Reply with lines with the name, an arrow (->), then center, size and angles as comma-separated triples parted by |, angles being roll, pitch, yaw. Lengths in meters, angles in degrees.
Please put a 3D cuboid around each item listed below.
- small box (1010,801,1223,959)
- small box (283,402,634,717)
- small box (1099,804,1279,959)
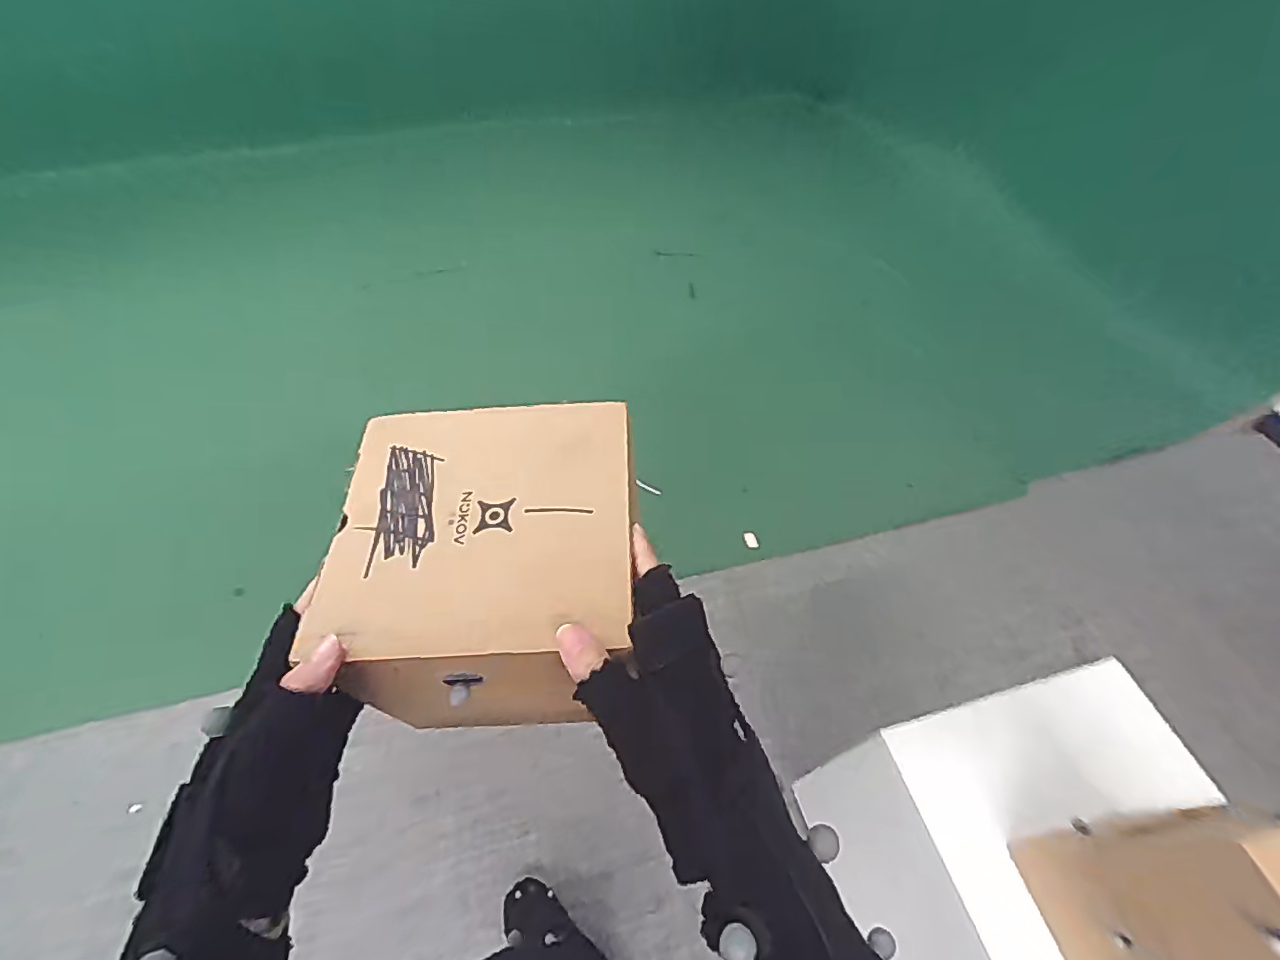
small box -> 0.552, 0.469, 0.578 | 0.168, 0.176, 0.179 | -11, 55, -7
small box -> -0.098, 0.065, 0.389 | 0.179, 0.176, 0.168 | -3, 55, 1
small box -> 0.553, 0.377, 0.445 | 0.179, 0.176, 0.168 | -12, 56, -7
